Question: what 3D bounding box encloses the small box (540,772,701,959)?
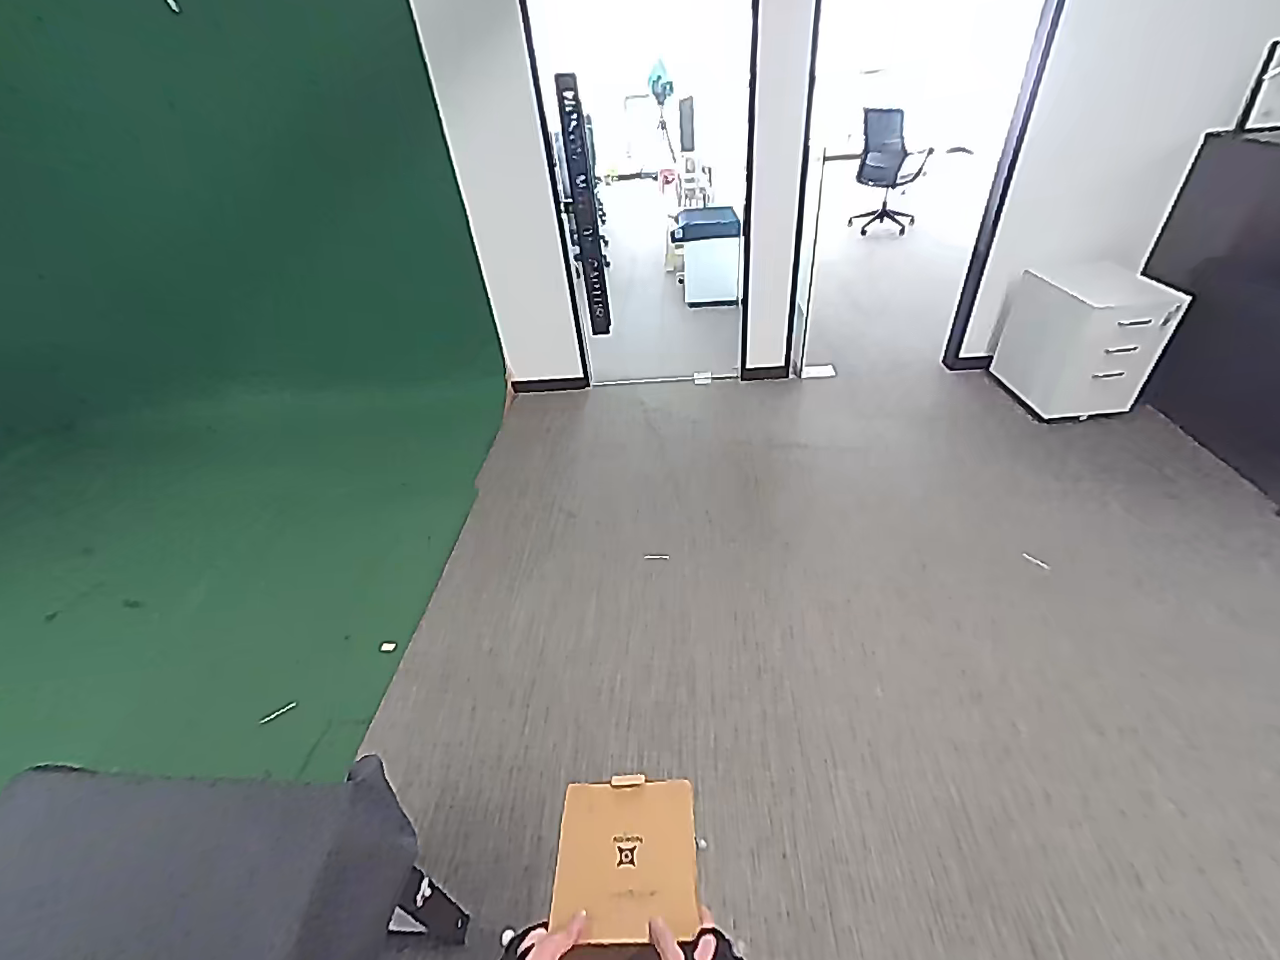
[{"bbox_3d":[-0.013,0.494,0.668,0.168,0.176,0.179,-4,29,5],"label":"small box"}]
